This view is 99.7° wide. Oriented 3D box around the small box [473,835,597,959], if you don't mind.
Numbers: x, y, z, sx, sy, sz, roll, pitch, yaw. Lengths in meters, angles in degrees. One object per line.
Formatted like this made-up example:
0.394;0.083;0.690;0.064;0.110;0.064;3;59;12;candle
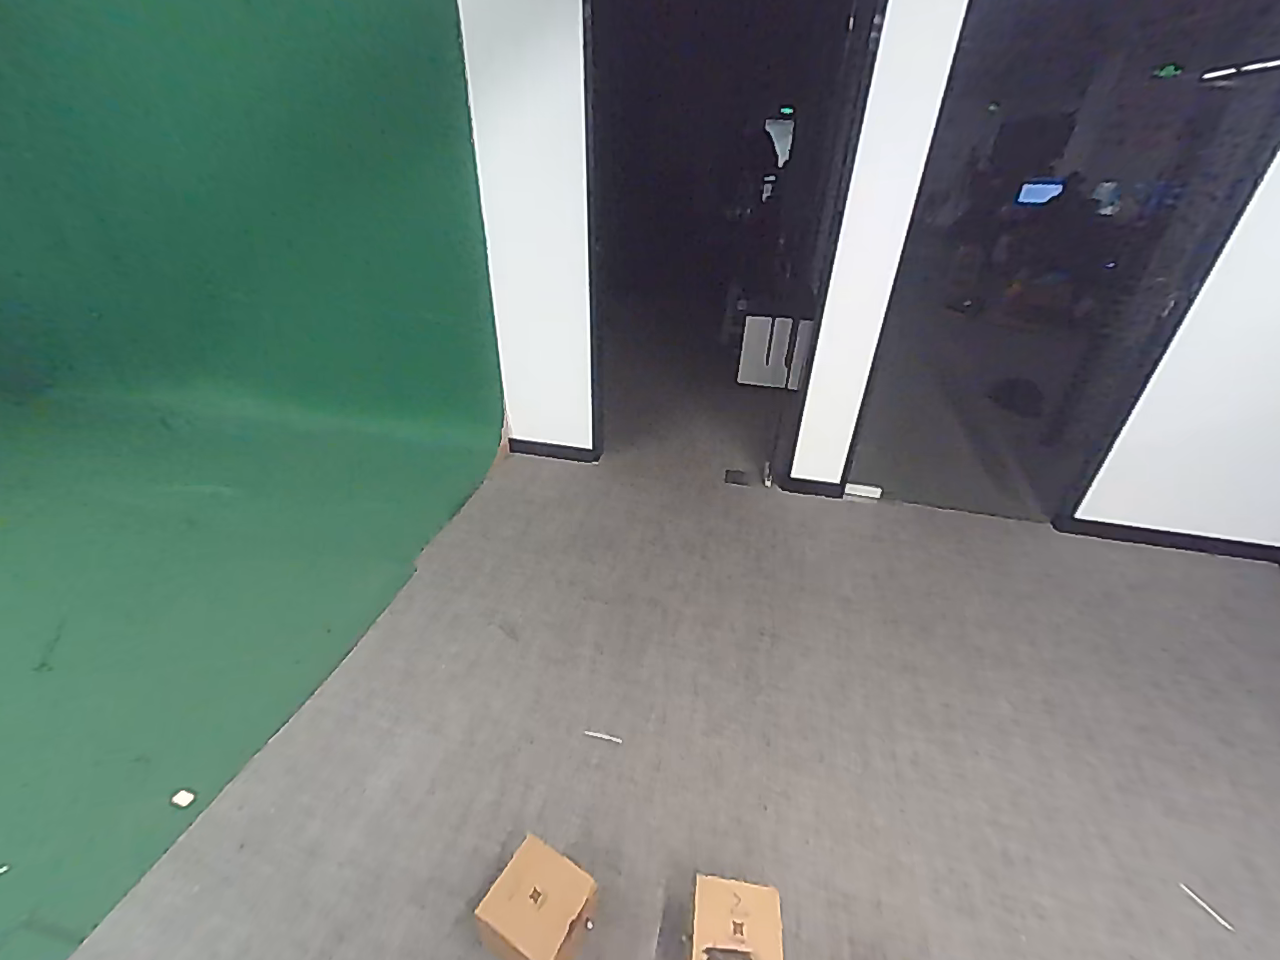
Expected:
-0.198;0.865;1.073;0.179;0.176;0.168;15;34;26;small box
